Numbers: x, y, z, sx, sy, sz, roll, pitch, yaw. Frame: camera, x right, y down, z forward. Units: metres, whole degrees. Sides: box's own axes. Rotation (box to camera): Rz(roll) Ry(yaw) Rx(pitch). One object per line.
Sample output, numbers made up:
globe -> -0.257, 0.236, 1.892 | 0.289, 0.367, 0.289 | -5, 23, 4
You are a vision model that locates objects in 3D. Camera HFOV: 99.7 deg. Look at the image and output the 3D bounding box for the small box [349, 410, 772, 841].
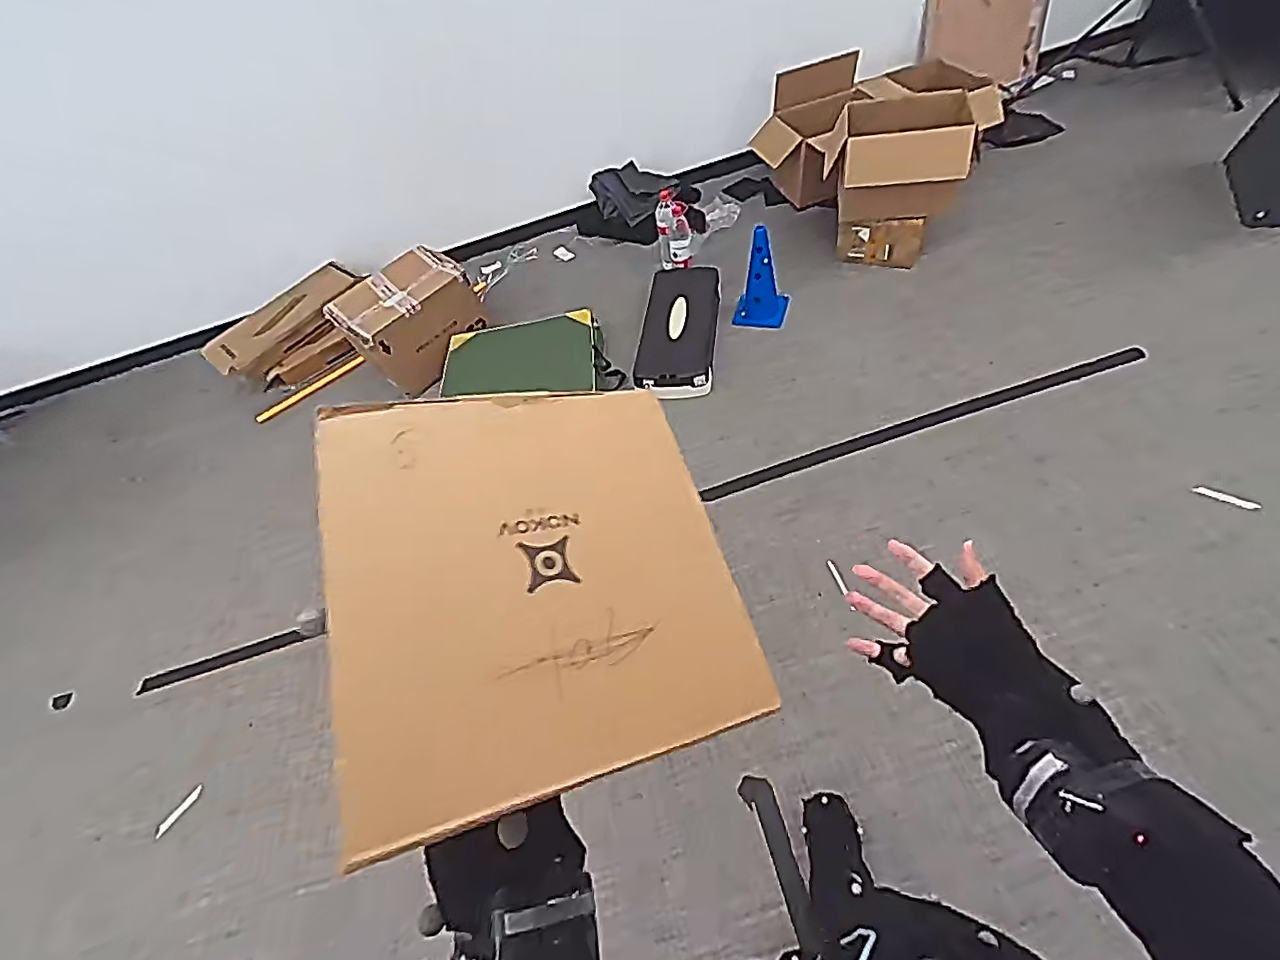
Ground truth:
small box -> -0.064, 0.081, 0.308 | 0.168, 0.176, 0.179 | -6, 61, -25
